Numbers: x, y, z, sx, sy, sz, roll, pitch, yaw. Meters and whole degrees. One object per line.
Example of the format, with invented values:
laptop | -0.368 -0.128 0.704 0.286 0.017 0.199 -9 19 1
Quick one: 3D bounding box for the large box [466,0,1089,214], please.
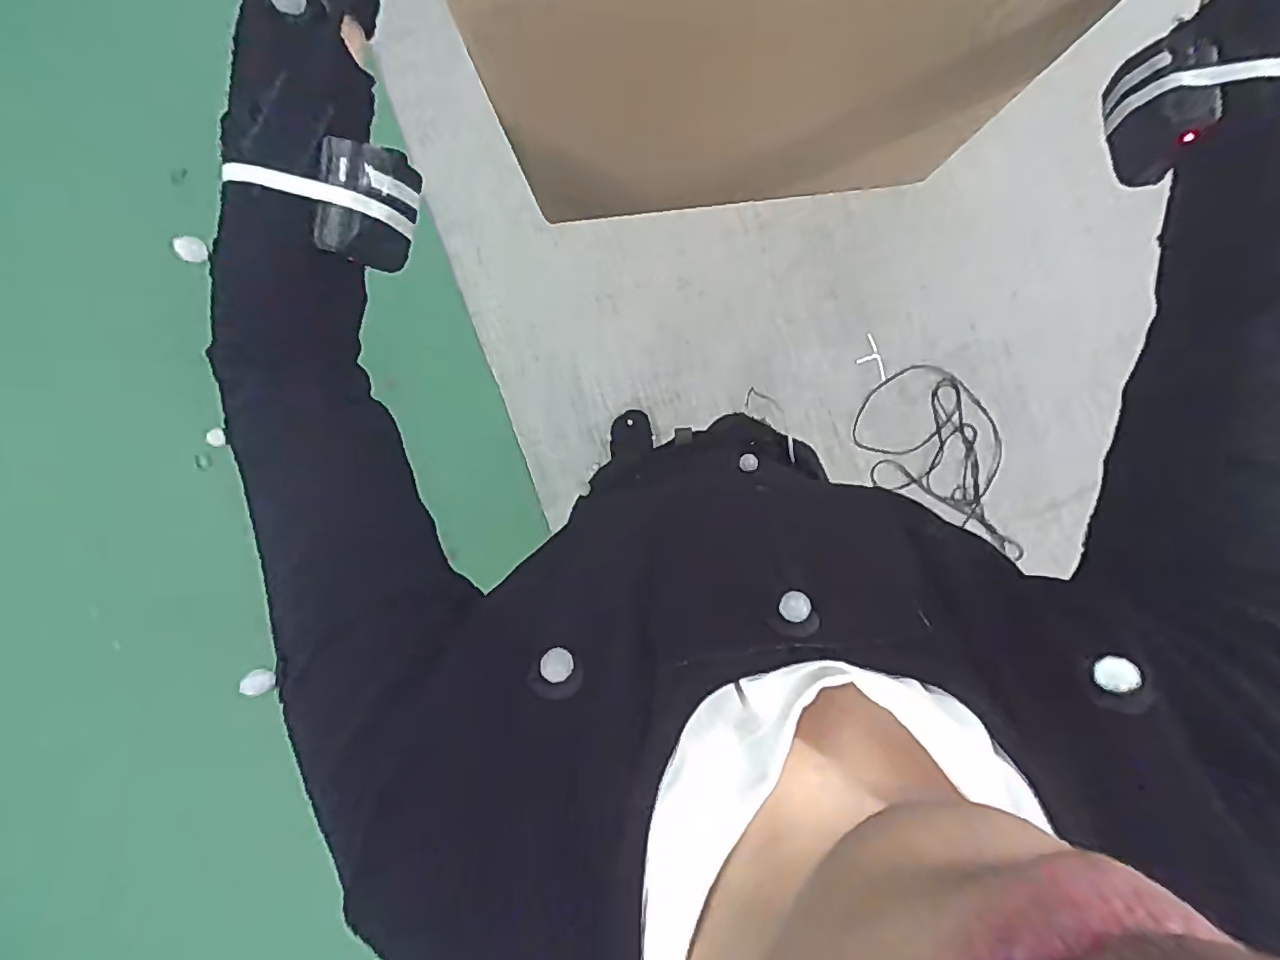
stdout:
large box | 0.080 -0.440 0.413 0.408 0.320 0.320 -6 95 0
